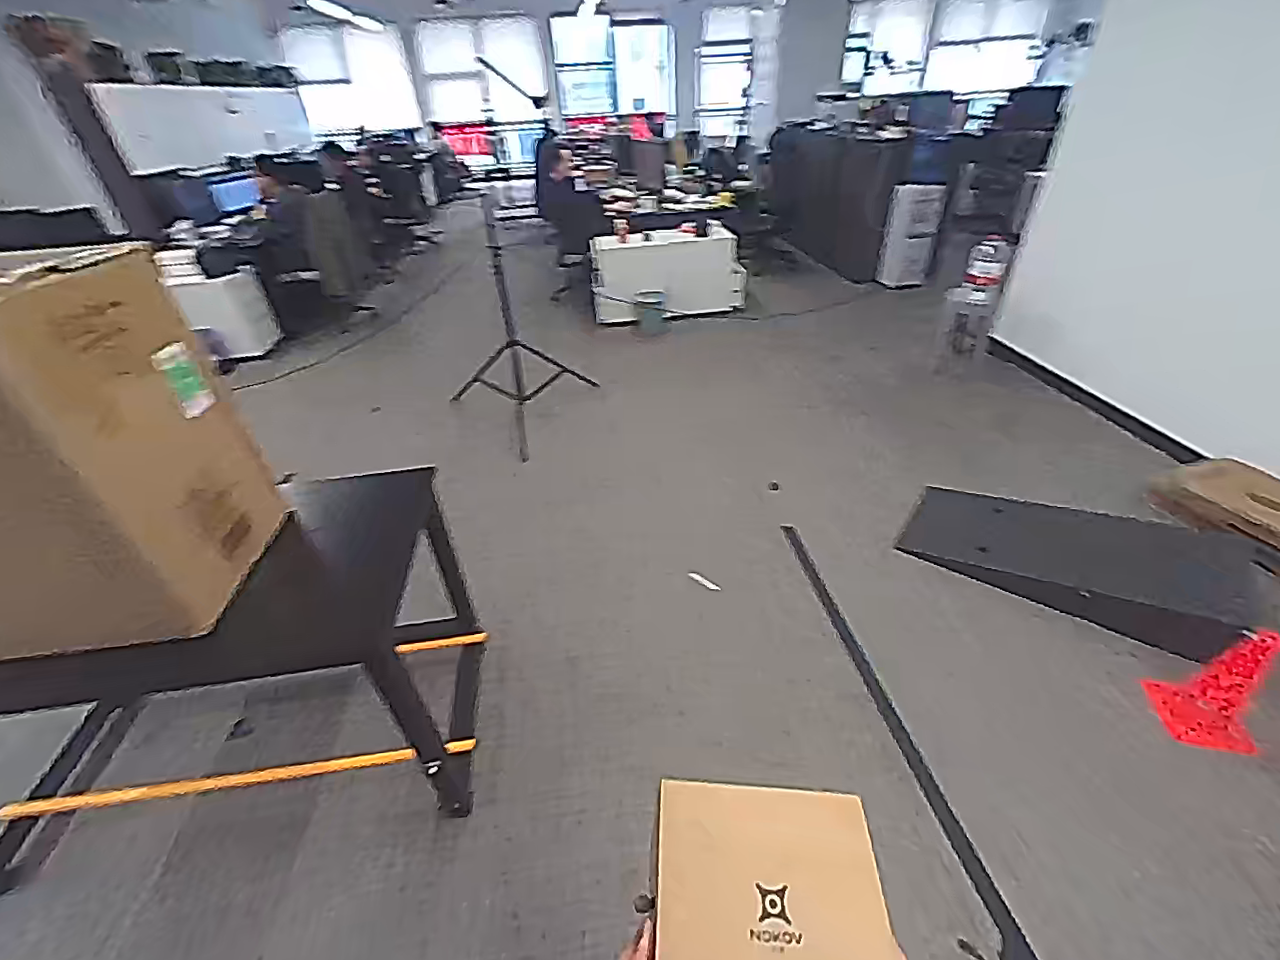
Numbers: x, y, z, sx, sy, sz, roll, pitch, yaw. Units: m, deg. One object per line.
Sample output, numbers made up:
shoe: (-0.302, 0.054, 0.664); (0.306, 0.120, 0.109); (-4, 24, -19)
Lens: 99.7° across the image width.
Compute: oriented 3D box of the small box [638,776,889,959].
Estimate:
small box: (0.084, 0.368, 0.430); (0.168, 0.176, 0.179); (3, 39, 2)
